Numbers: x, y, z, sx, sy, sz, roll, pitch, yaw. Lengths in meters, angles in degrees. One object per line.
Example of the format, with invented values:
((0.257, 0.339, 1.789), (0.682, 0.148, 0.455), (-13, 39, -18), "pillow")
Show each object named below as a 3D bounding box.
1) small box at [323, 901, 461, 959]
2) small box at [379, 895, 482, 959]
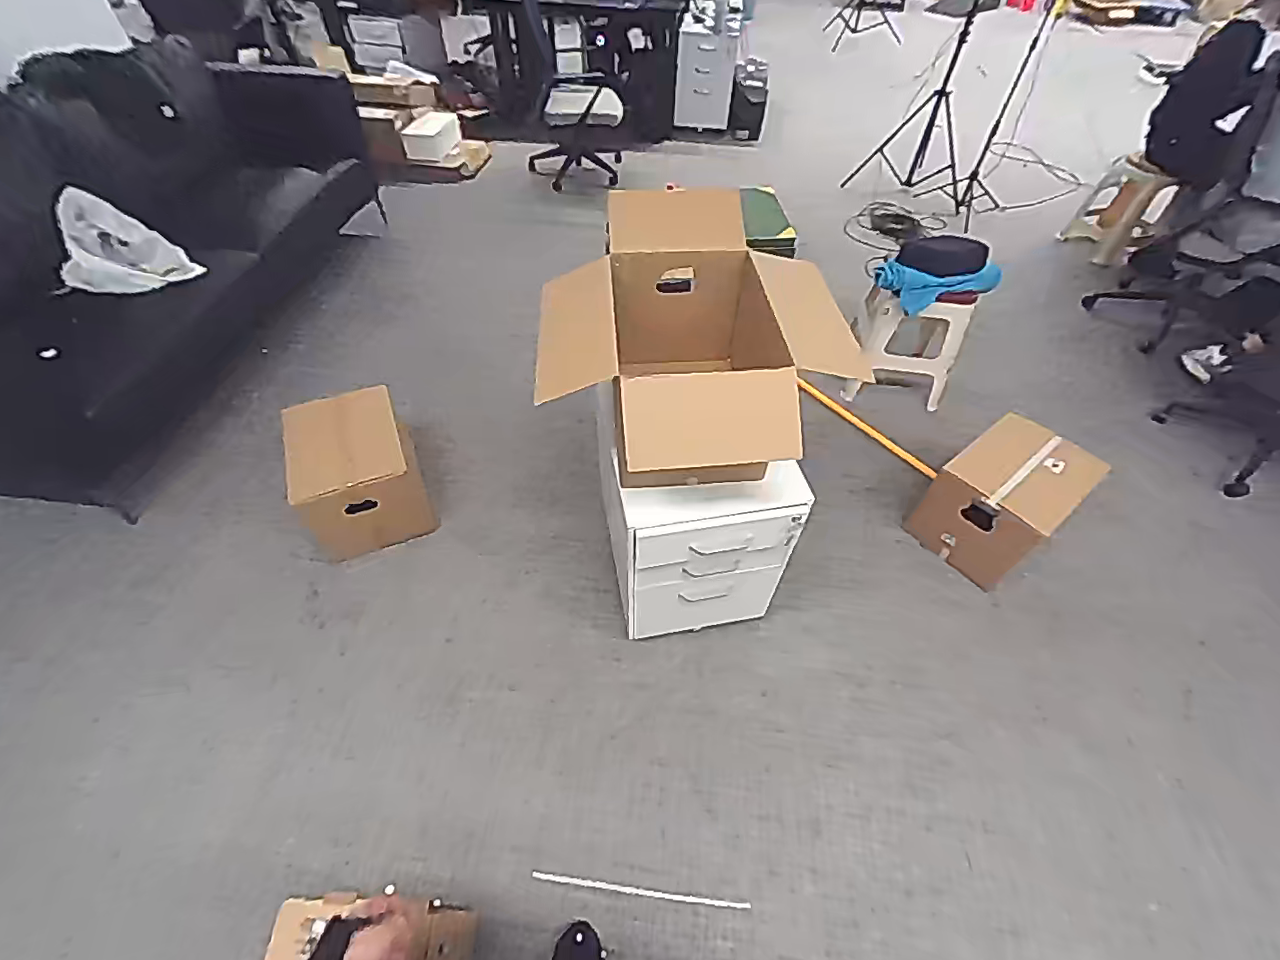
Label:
((-0.427, 0.834, 0.929), (0.179, 0.176, 0.168), (1, 50, 2), "small box")
((-0.427, 0.929, 1.062), (0.179, 0.176, 0.168), (4, 51, 3), "small box")
